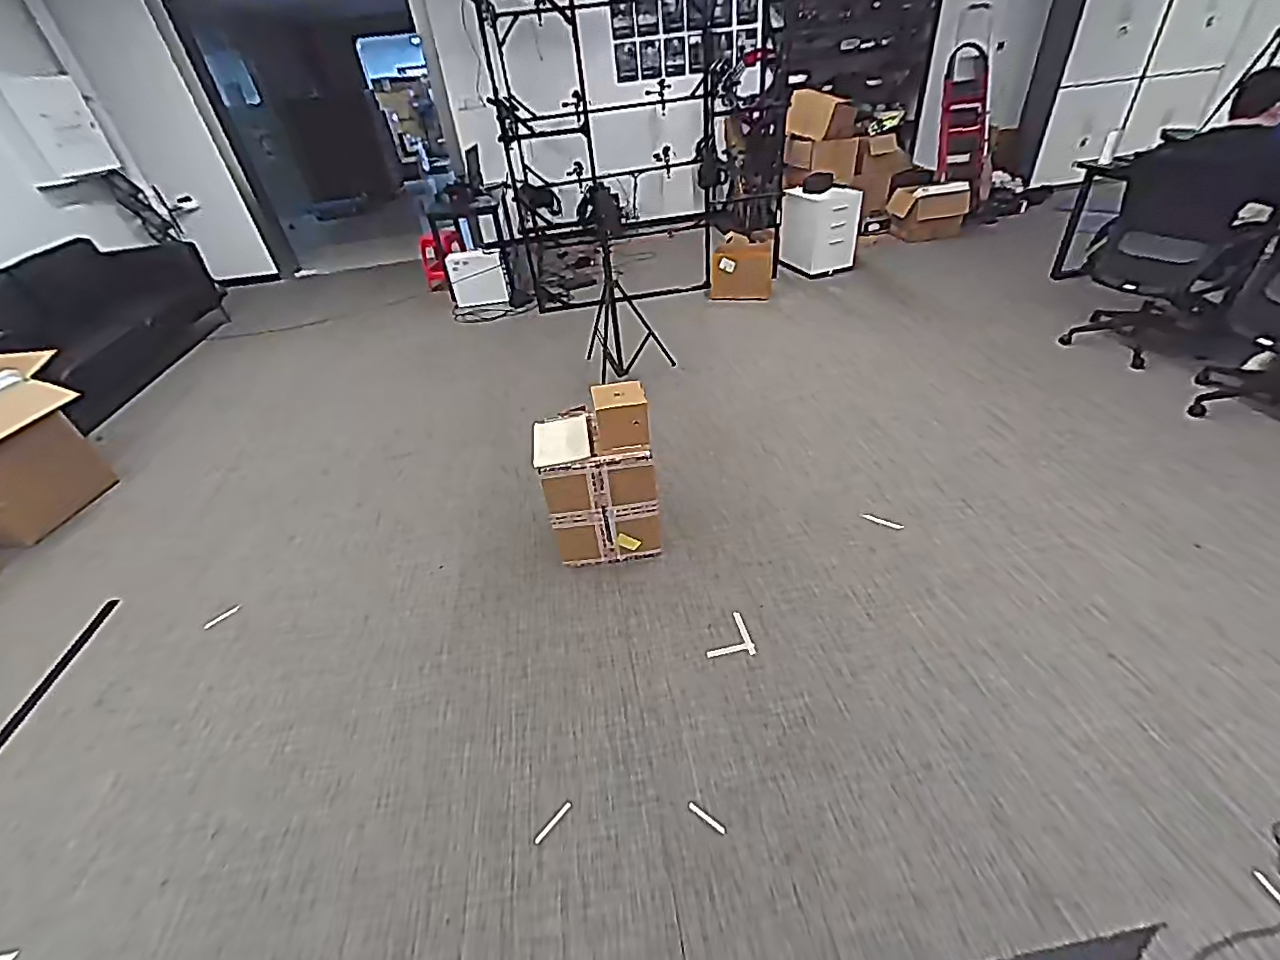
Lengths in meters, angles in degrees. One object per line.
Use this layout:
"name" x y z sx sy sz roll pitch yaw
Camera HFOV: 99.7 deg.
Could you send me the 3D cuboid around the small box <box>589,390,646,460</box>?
"small box" -0.075 -0.190 1.874 0.179 0.176 0.168 -10 39 -6
